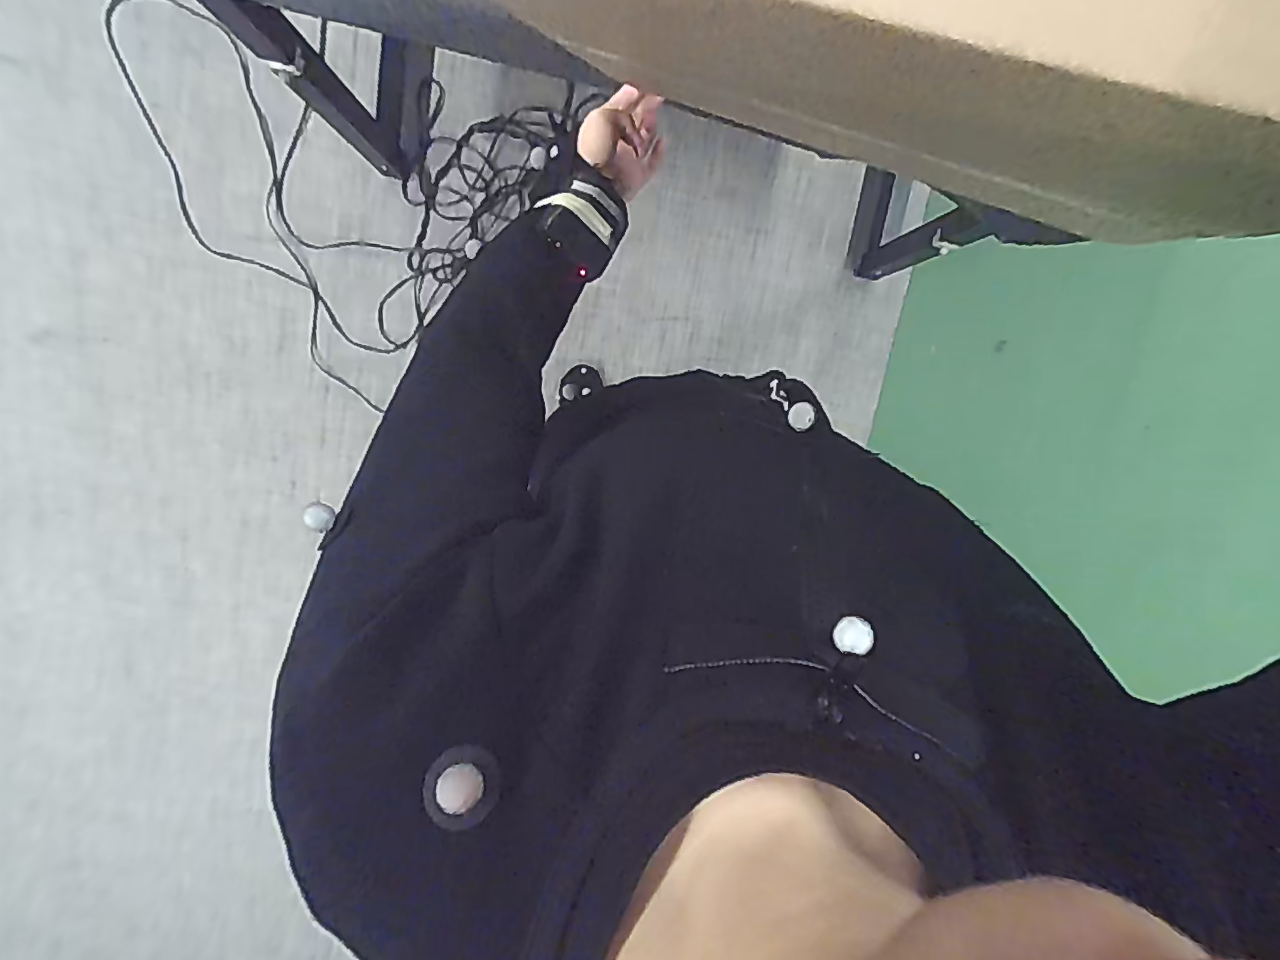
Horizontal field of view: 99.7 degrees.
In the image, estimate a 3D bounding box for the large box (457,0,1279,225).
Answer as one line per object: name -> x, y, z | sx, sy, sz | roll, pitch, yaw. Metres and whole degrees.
large box -> 0.151, -0.338, 0.247 | 0.408, 0.320, 0.320 | 26, 119, 14
